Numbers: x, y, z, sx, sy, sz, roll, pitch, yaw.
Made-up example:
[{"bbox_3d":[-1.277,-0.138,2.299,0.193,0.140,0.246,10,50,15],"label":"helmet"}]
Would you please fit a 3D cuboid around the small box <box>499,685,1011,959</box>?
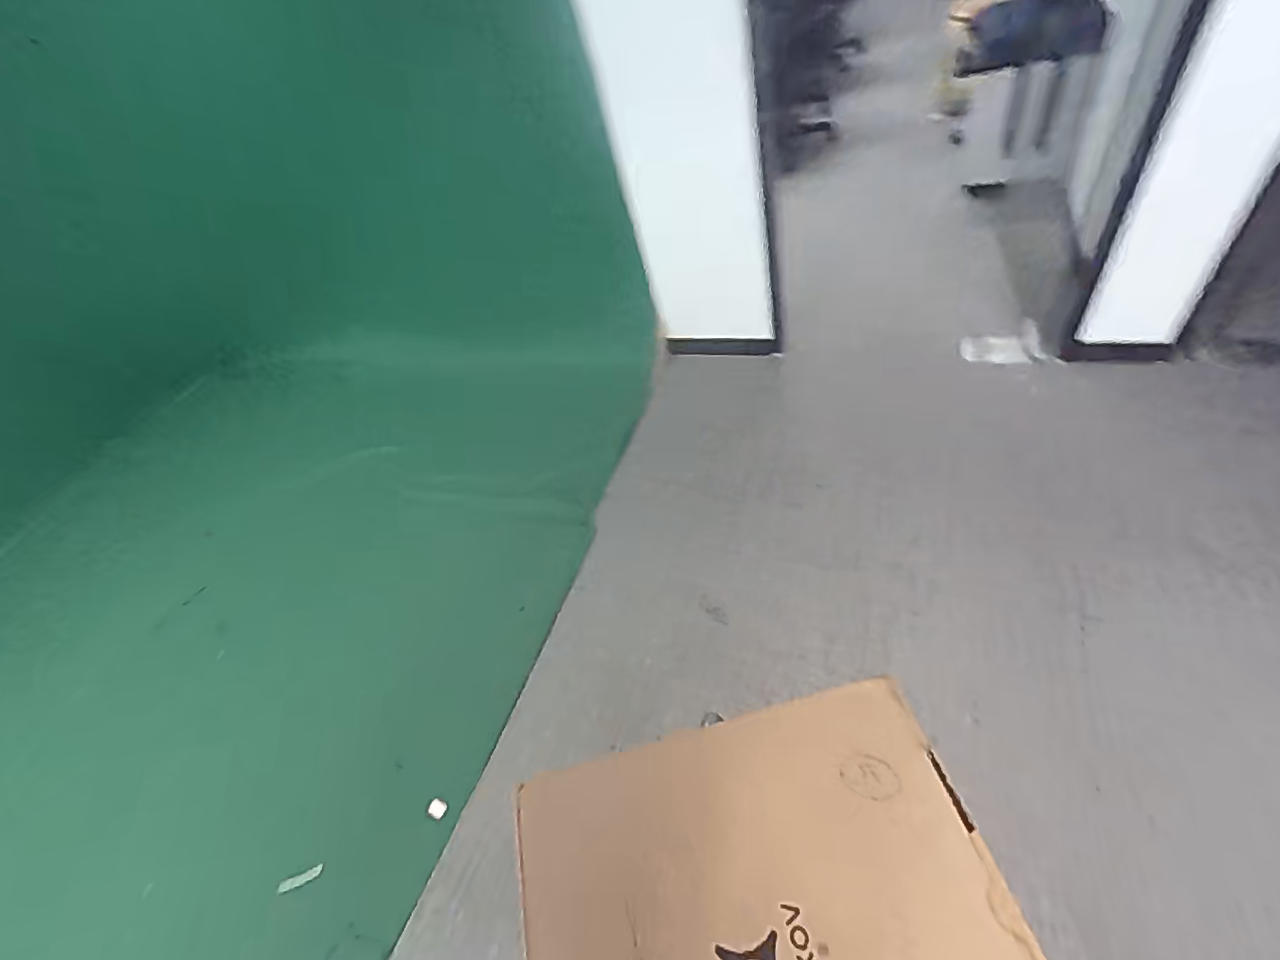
[{"bbox_3d":[0.057,0.221,0.250,0.179,0.176,0.168,-21,51,3],"label":"small box"}]
